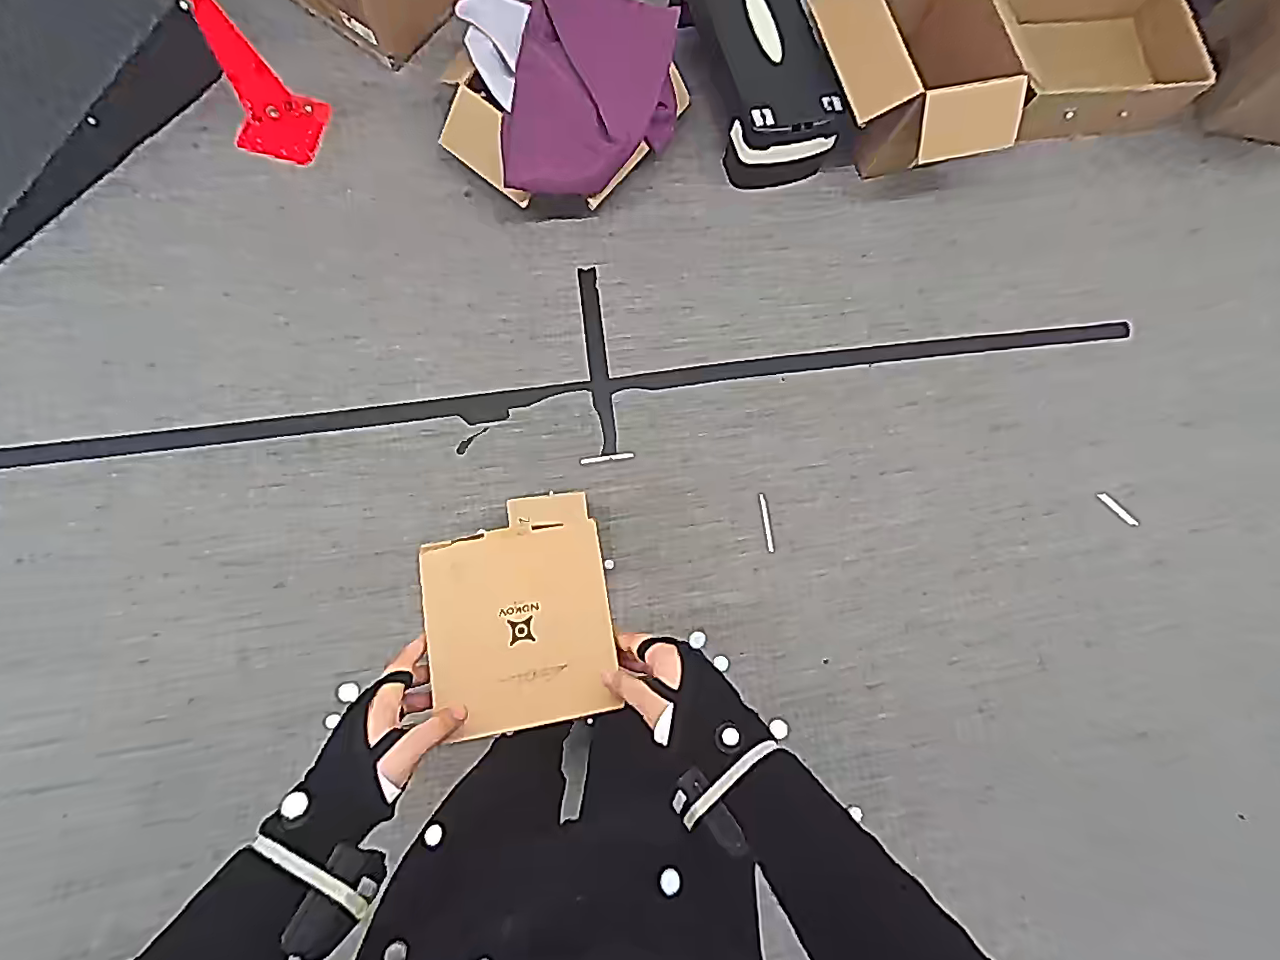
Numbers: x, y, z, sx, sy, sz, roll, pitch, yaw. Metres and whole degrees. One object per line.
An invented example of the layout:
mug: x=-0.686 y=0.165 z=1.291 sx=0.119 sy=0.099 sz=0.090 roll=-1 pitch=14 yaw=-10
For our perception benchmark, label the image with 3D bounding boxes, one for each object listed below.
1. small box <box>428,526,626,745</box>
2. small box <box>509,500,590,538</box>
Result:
small box: x=-0.115 y=0.156 z=0.578 sx=0.168 sy=0.176 sz=0.179 roll=-9 pitch=79 yaw=-8
small box: x=-0.203 y=0.145 z=1.262 sx=0.179 sy=0.176 sz=0.168 roll=-6 pitch=80 yaw=-7
